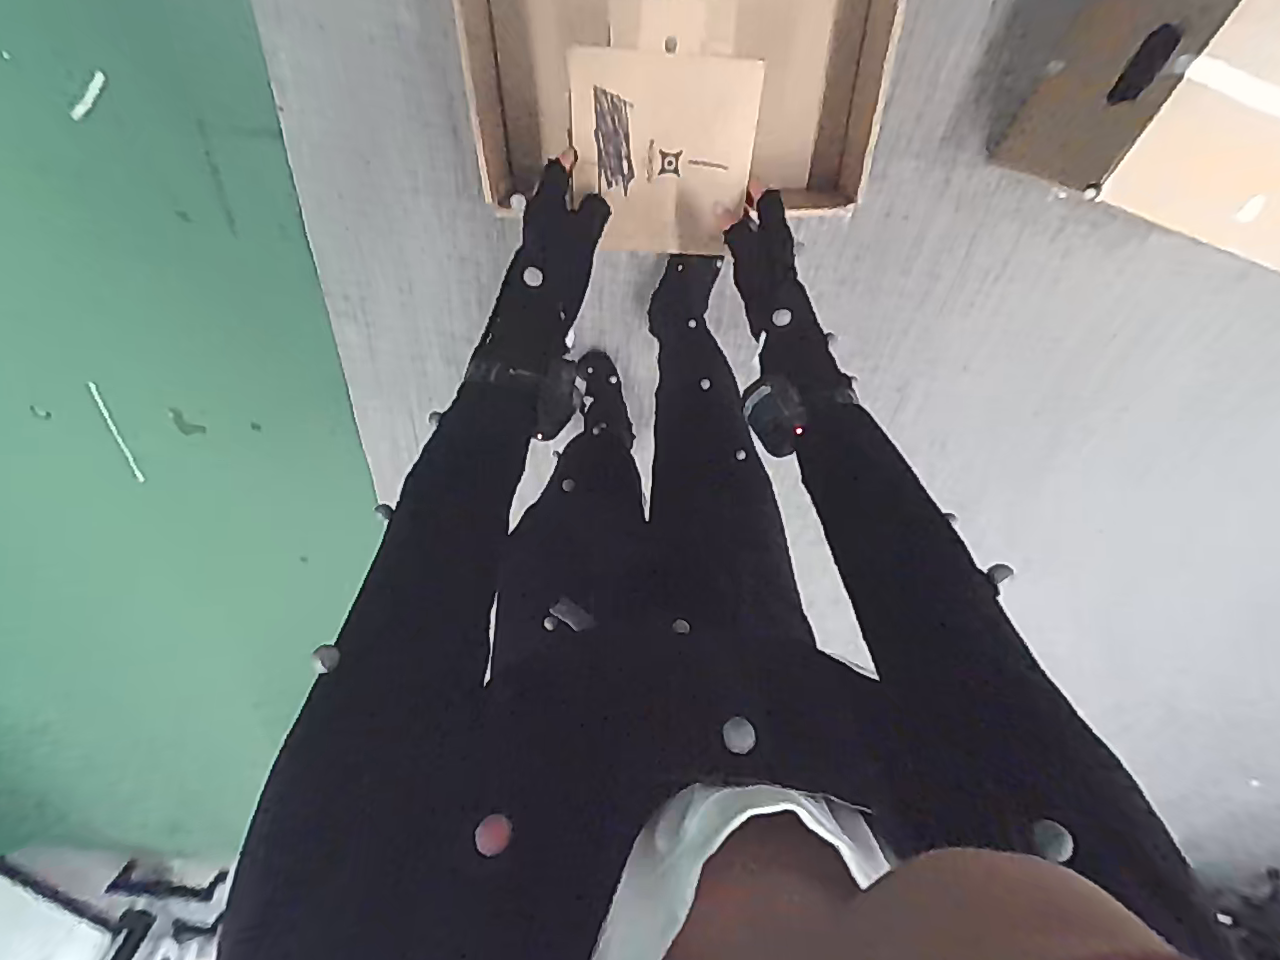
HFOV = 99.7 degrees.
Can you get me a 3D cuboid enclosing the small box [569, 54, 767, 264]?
[{"bbox_3d":[0.019,-0.341,0.582,0.179,0.176,0.168,1,124,-4],"label":"small box"}]
